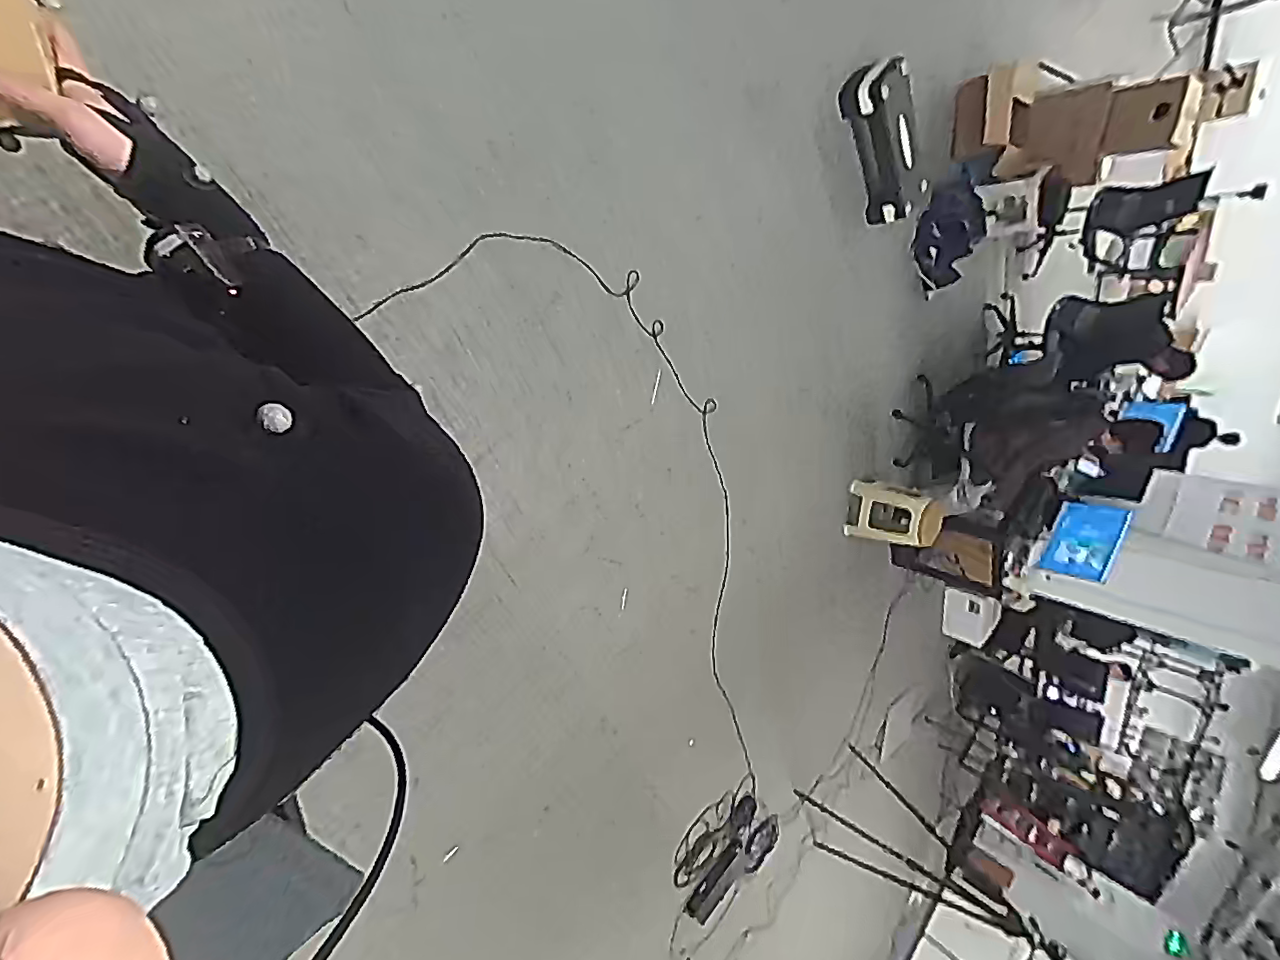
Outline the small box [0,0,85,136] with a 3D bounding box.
[{"bbox_3d":[-0.527,-0.349,0.368,0.168,0.176,0.179,-15,121,-34],"label":"small box"}]
